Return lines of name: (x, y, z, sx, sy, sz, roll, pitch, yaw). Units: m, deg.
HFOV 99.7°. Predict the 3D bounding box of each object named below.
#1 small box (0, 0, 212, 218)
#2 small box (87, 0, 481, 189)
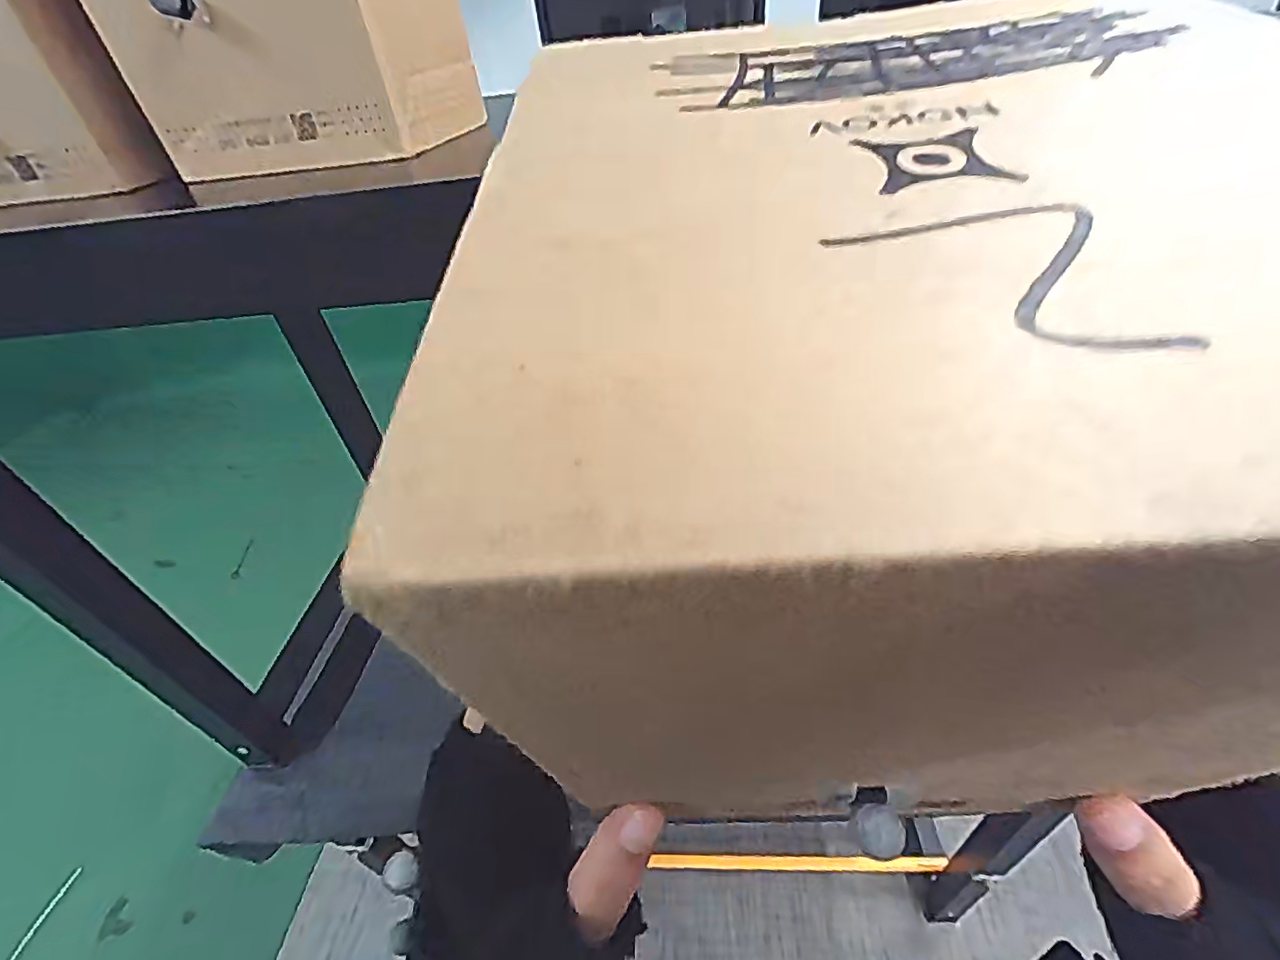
small box: (-0.426, -0.301, 0.392, 0.168, 0.176, 0.179, -2, 40, 7)
small box: (-0.230, -0.313, 0.376, 0.168, 0.176, 0.179, -2, 39, 8)
